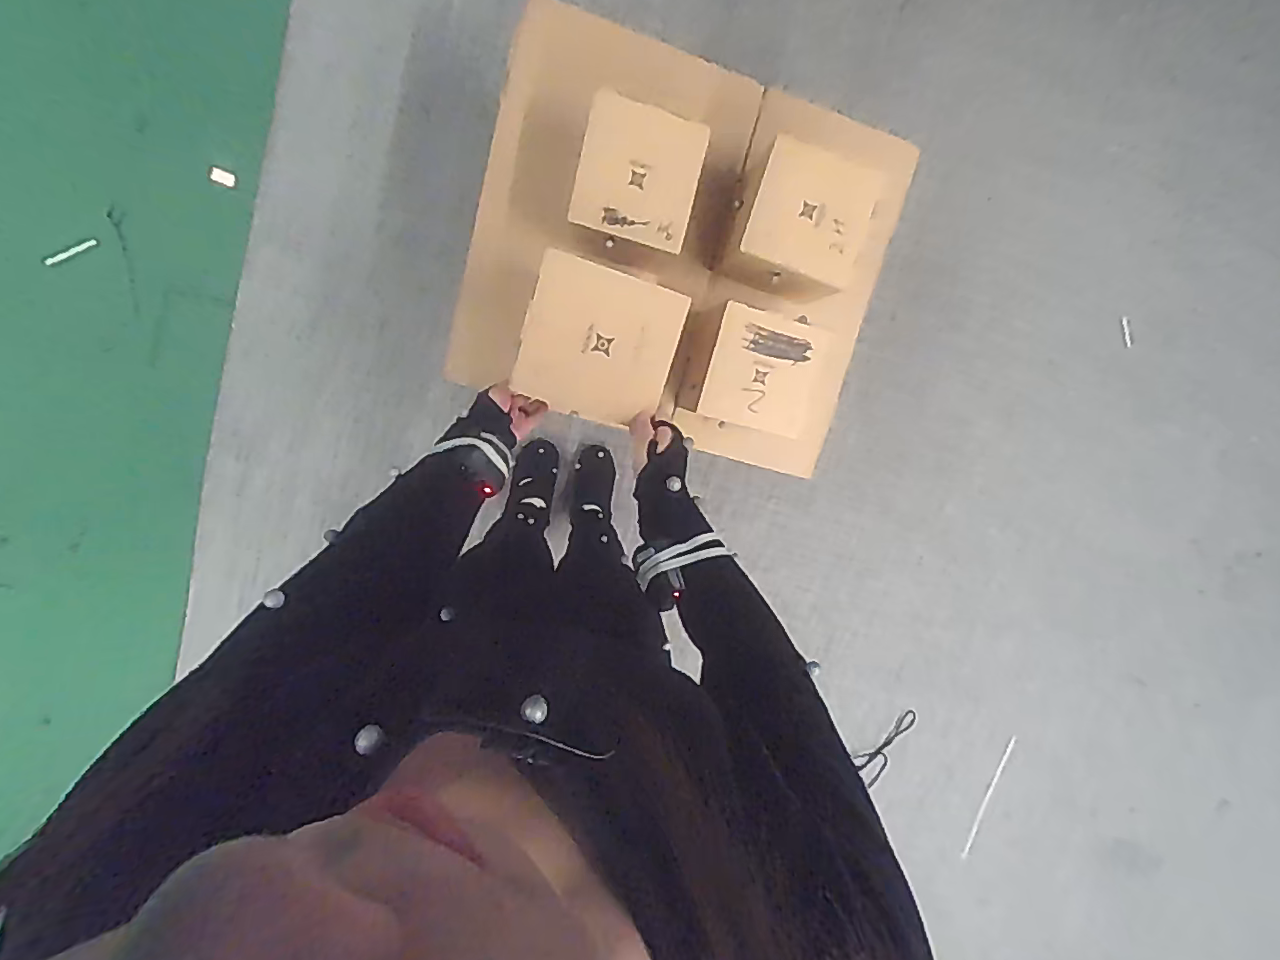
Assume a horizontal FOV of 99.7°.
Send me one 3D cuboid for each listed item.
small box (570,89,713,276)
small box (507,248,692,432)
[{"bbox_3d":[-0.006,-0.430,0.816,0.168,0.176,0.179,14,98,-7],"label":"small box"},{"bbox_3d":[-0.055,-0.172,0.696,0.179,0.176,0.168,17,100,-10],"label":"small box"}]
